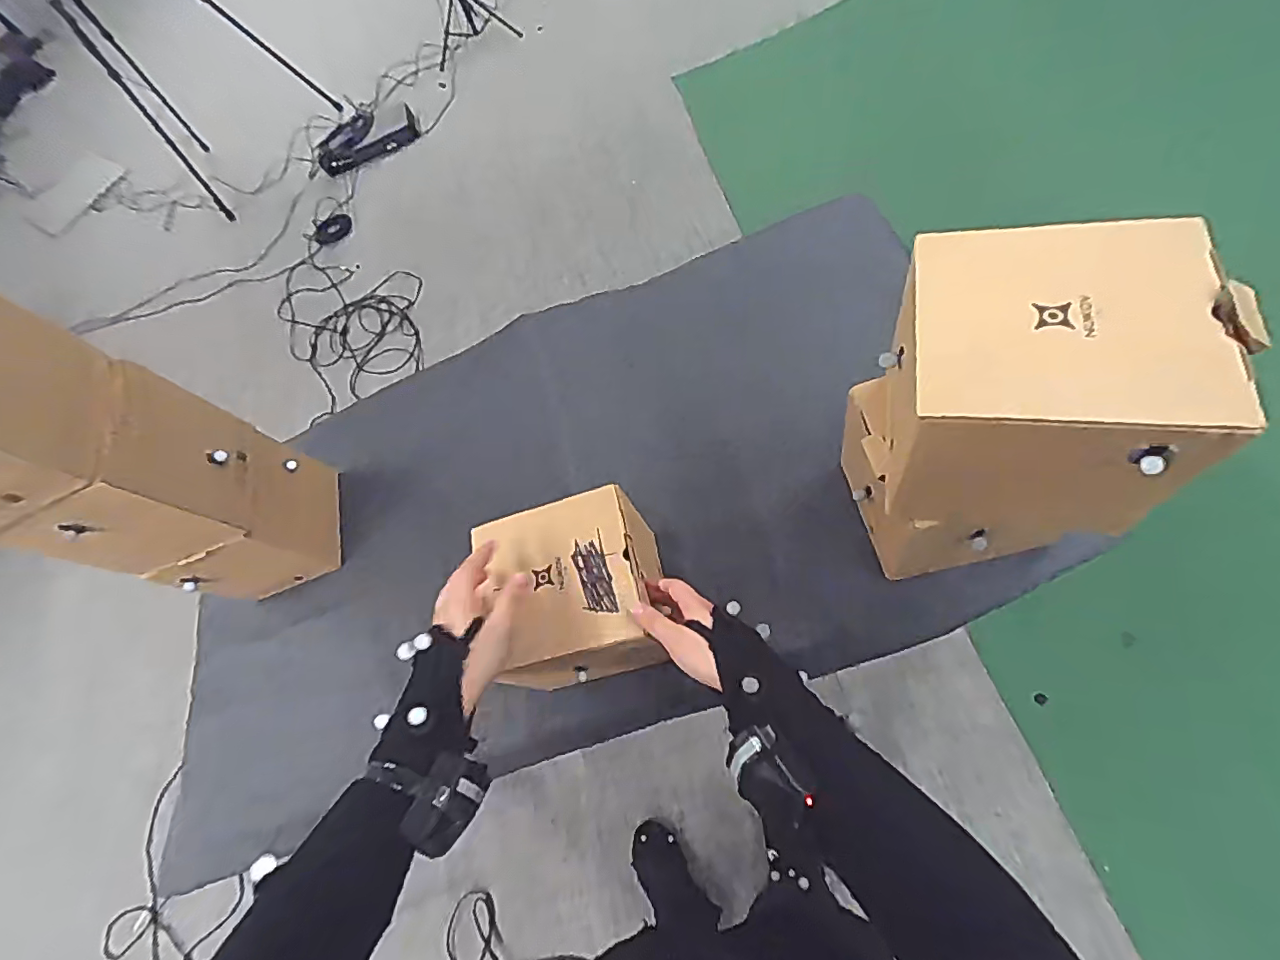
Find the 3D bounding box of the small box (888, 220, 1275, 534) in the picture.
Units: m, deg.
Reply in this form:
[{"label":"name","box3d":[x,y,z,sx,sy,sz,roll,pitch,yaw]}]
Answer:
[{"label":"small box","box3d":[0.295,-0.067,0.416,0.179,0.176,0.168,5,66,18]}]

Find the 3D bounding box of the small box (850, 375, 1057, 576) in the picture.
[{"label":"small box","box3d":[0.332,-0.011,0.566,0.179,0.176,0.168,-16,61,10]}]

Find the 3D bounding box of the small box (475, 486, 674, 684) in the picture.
[{"label":"small box","box3d":[-0.067,0.131,0.624,0.179,0.176,0.168,-17,63,9]}]

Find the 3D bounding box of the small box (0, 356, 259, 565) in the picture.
[{"label":"small box","box3d":[-0.608,-0.011,0.652,0.179,0.176,0.168,-20,65,6]}]

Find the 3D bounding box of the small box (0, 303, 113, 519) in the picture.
[{"label":"small box","box3d":[-0.655,-0.069,0.508,0.168,0.176,0.179,-23,63,4]}]
